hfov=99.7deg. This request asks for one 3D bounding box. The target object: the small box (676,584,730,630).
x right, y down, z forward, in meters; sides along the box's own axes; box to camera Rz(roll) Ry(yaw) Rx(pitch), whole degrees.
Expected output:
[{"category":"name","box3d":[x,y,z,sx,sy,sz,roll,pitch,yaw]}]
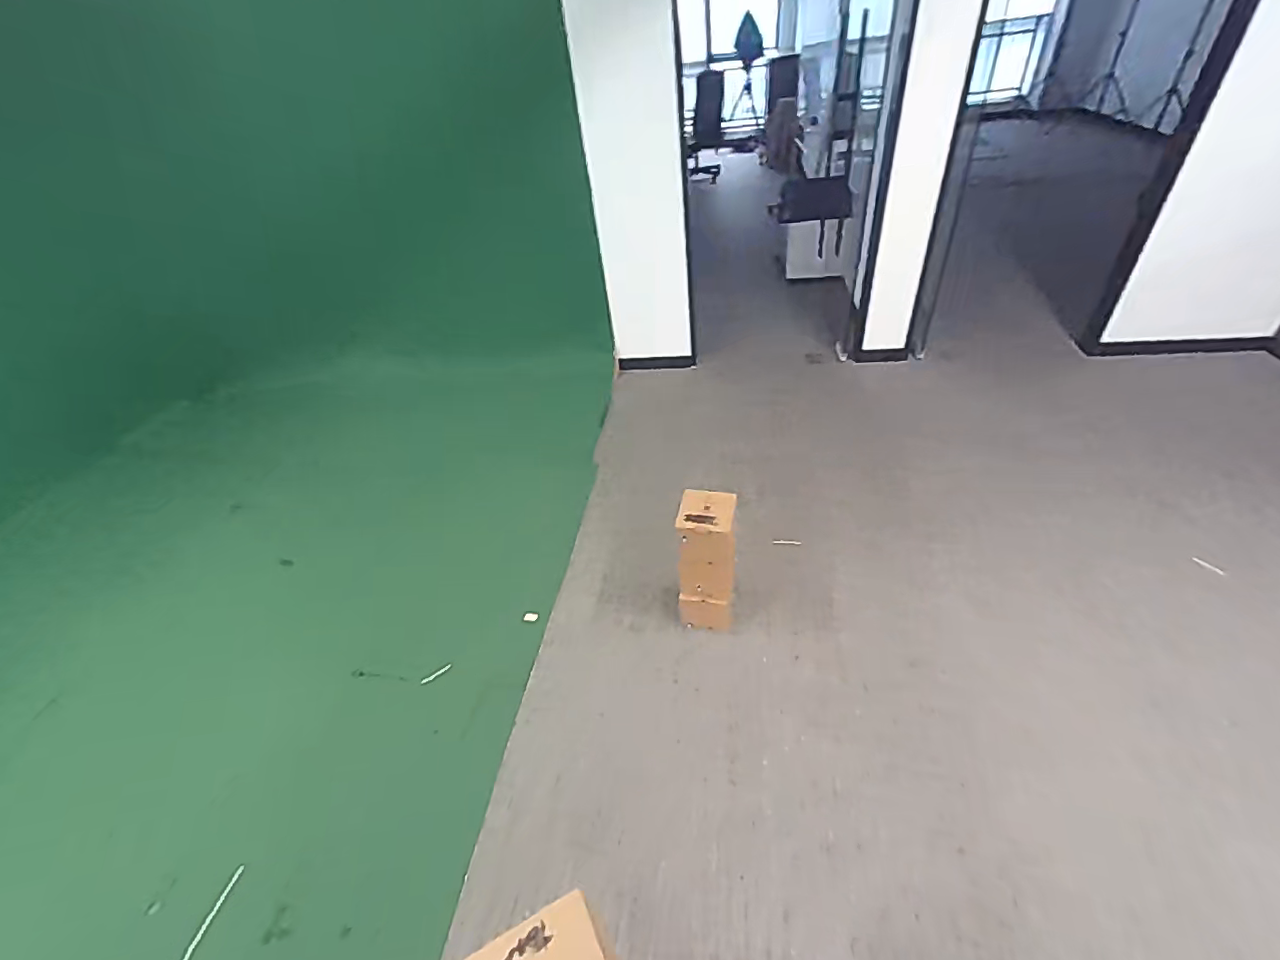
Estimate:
[{"category":"small box","box3d":[0.226,0.406,1.905,0.168,0.176,0.179,5,41,14]}]

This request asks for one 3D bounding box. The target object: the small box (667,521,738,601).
[{"category":"small box","box3d":[0.213,0.277,1.820,0.168,0.176,0.179,-37,48,-28]}]
